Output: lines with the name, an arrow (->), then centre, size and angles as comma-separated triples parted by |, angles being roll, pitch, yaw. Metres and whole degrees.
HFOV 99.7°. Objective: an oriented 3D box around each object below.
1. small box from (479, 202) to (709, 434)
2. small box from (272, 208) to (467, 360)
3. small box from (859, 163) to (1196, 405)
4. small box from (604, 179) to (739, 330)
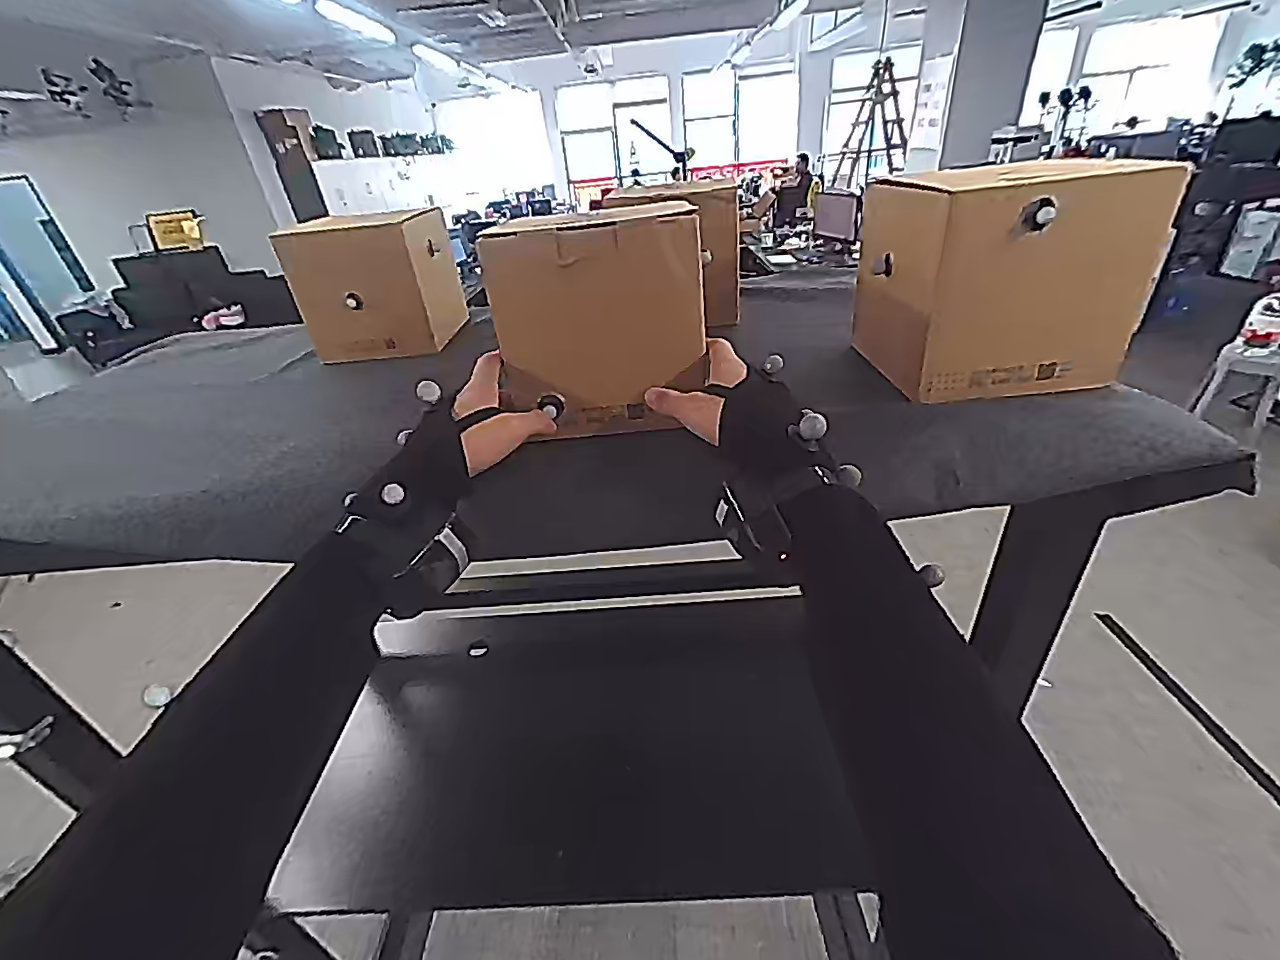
small box -> -0.027, -0.148, 0.498 | 0.168, 0.176, 0.179 | -5, 29, 3
small box -> -0.359, -0.274, 0.763 | 0.168, 0.176, 0.179 | -4, 32, 2
small box -> 0.311, -0.180, 0.488 | 0.168, 0.176, 0.179 | -6, 31, 3
small box -> 0.052, -0.311, 0.754 | 0.168, 0.176, 0.179 | -1, 32, 7
